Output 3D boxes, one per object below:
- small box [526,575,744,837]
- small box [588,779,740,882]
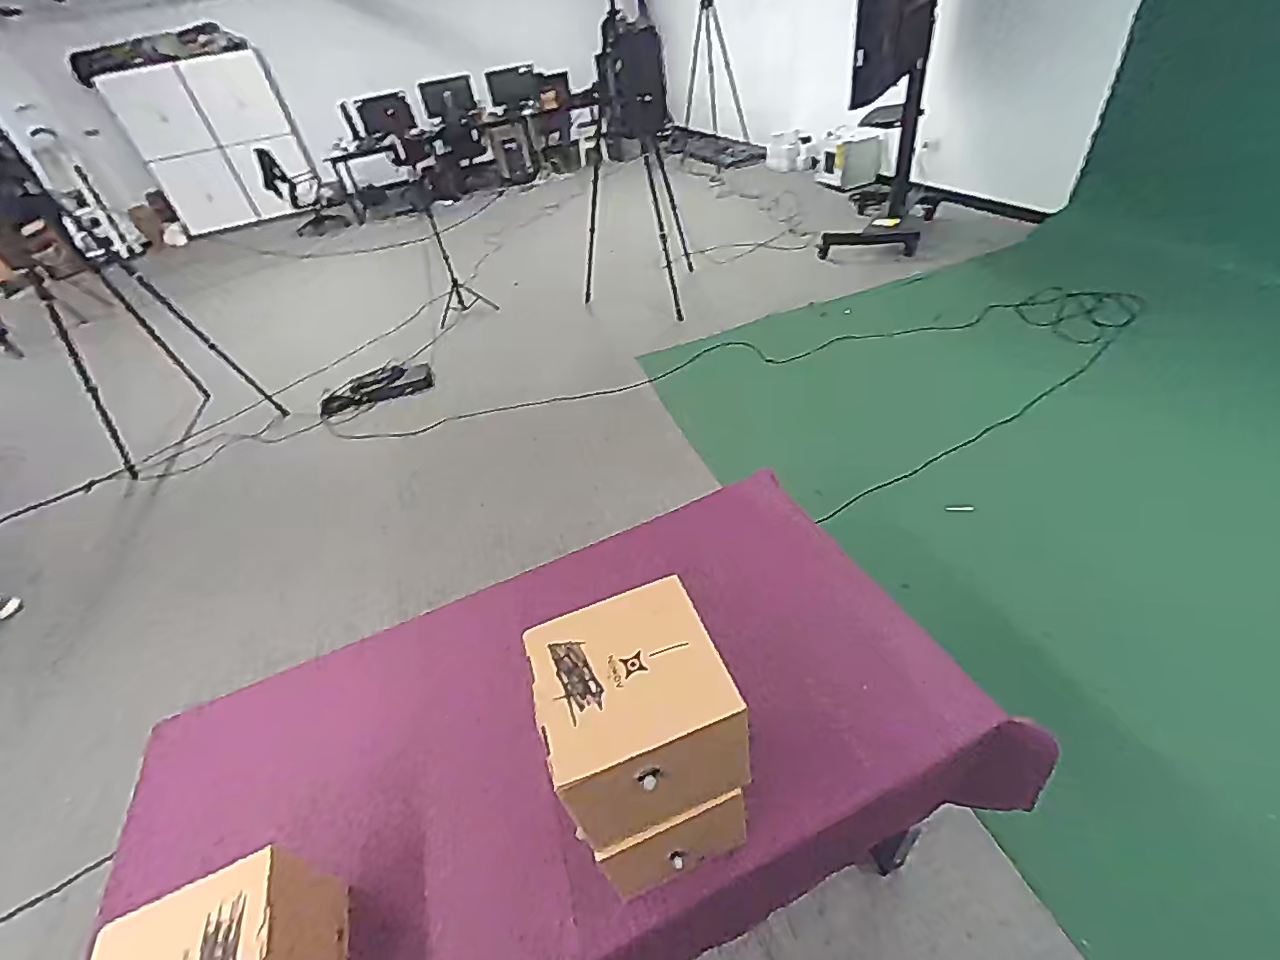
[{"bbox_3d":[-0.001,0.237,0.568,0.179,0.176,0.168,-18,42,-9],"label":"small box"},{"bbox_3d":[0.016,0.363,0.672,0.168,0.176,0.179,-19,41,-10],"label":"small box"}]
